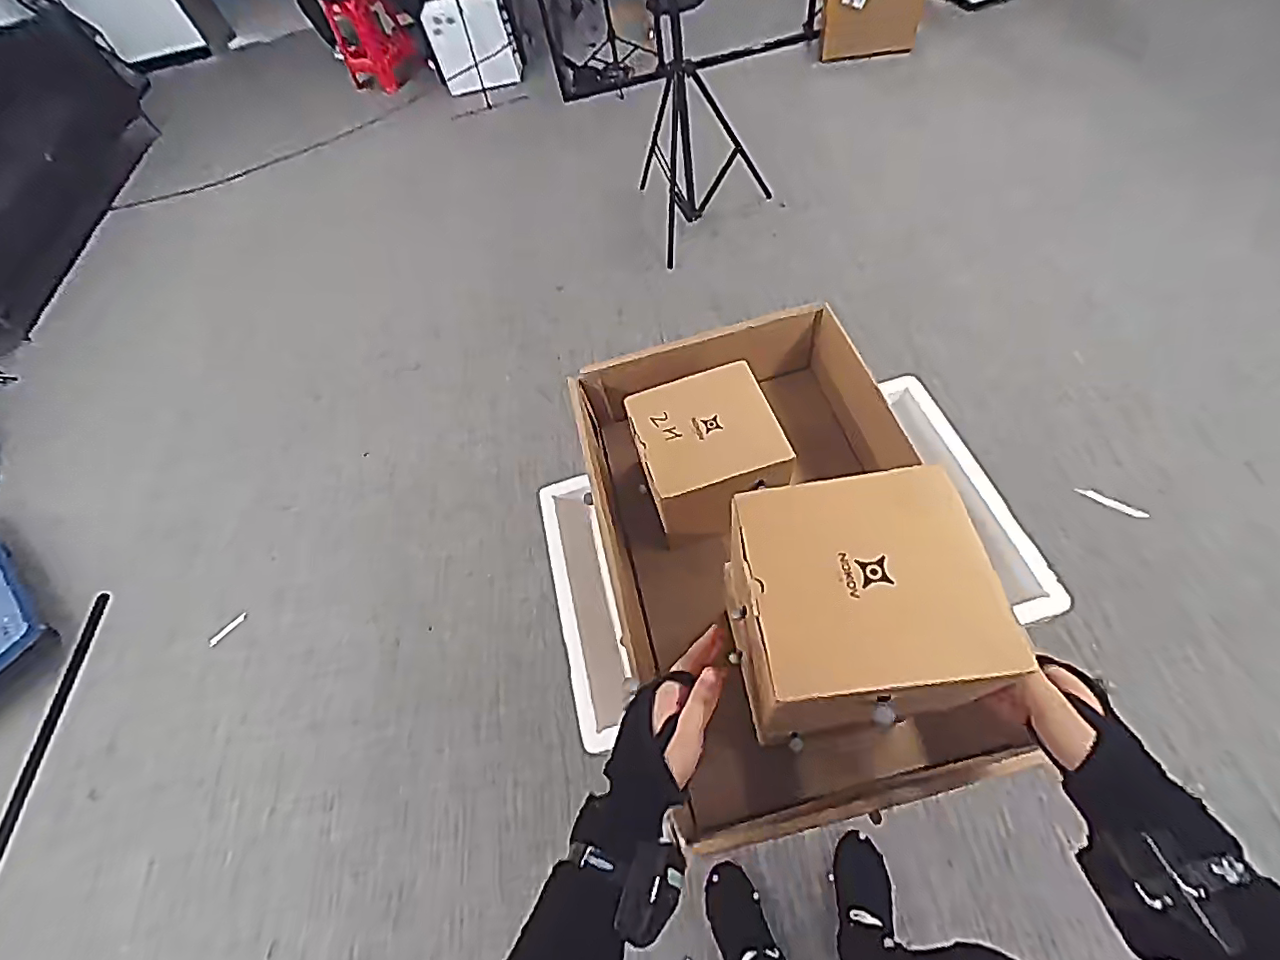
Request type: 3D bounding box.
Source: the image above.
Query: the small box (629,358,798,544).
[{"bbox_3d":[0.095,-0.034,0.750,0.179,0.176,0.168,-17,60,-2],"label":"small box"}]
